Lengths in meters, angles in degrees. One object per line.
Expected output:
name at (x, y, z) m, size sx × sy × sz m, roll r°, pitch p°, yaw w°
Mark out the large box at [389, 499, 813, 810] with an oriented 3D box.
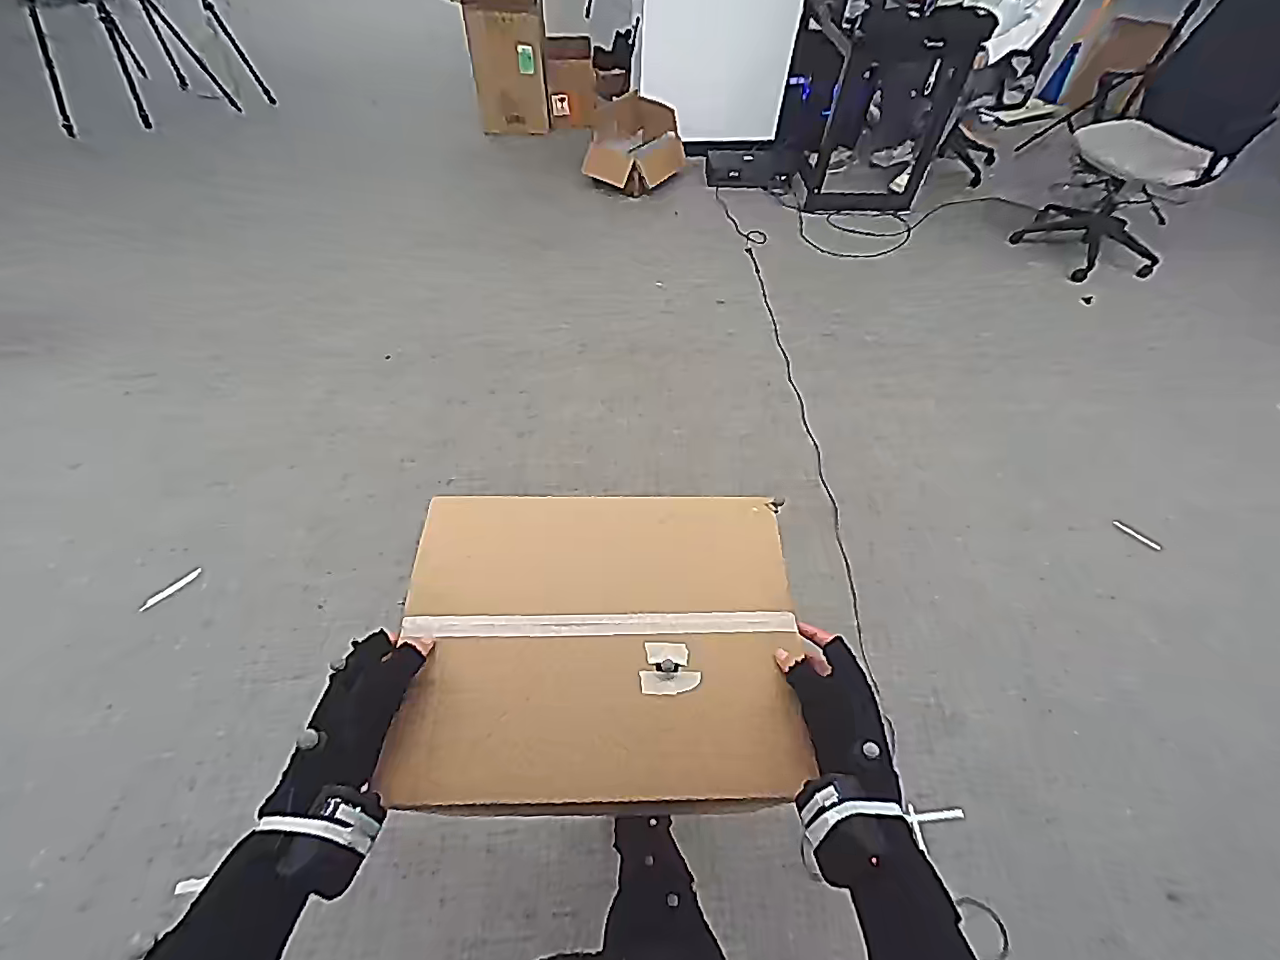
large box at (-0.045, 0.235, 0.705) m, size 0.408 × 0.320 × 0.320 m, roll 0°, pitch 57°, yaw -3°
